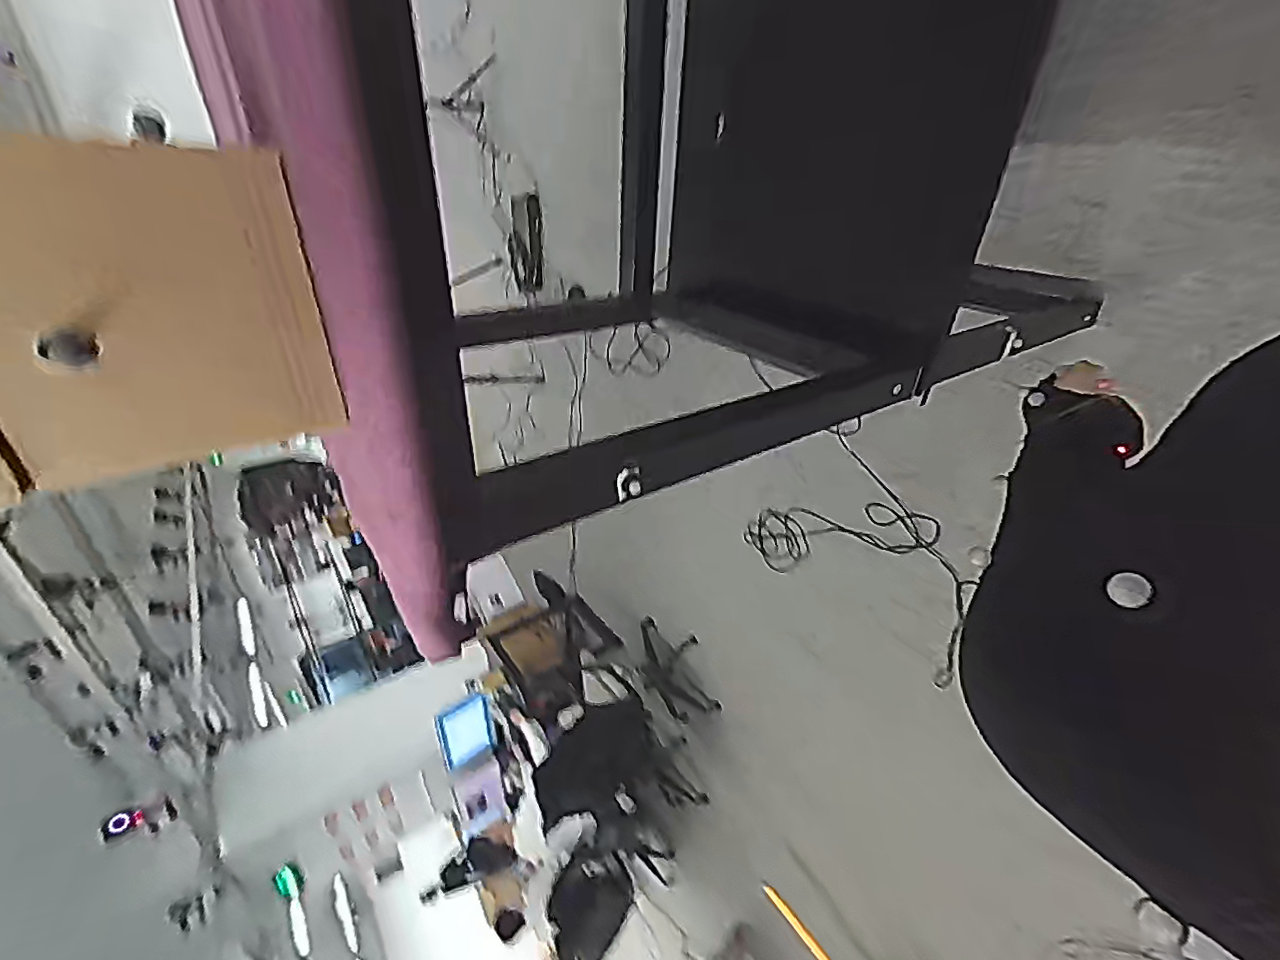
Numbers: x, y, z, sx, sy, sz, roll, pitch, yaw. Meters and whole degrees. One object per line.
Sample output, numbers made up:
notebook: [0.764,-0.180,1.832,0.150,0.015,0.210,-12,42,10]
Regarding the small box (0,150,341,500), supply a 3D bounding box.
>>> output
small box: [-0.322,-0.117,0.363,0.168,0.176,0.179,34,132,43]
